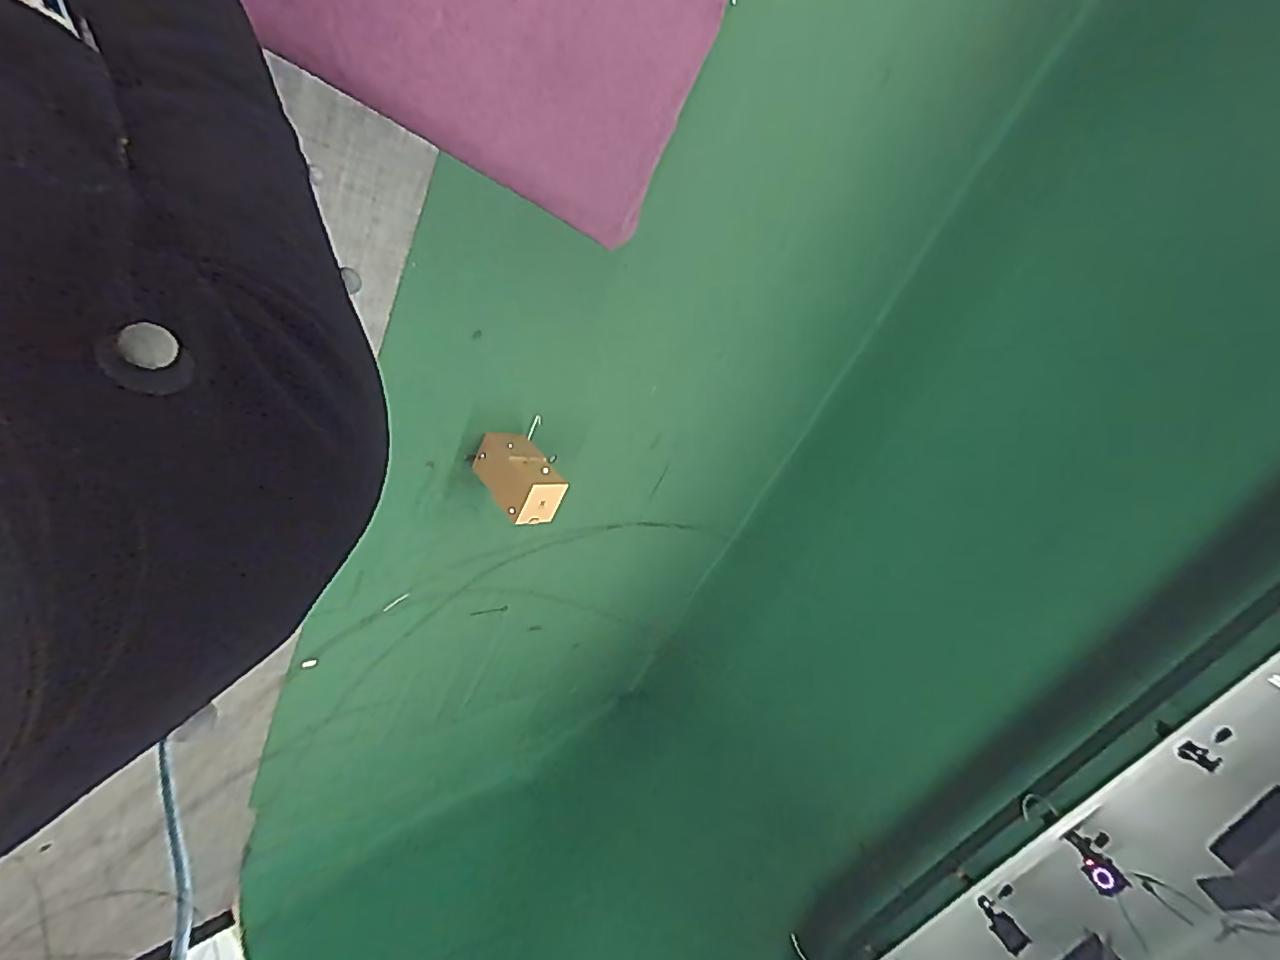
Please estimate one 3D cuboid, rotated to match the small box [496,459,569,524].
[{"bbox_3d":[-0.393,0.036,1.946,0.168,0.176,0.179,-1,127,-50],"label":"small box"}]
